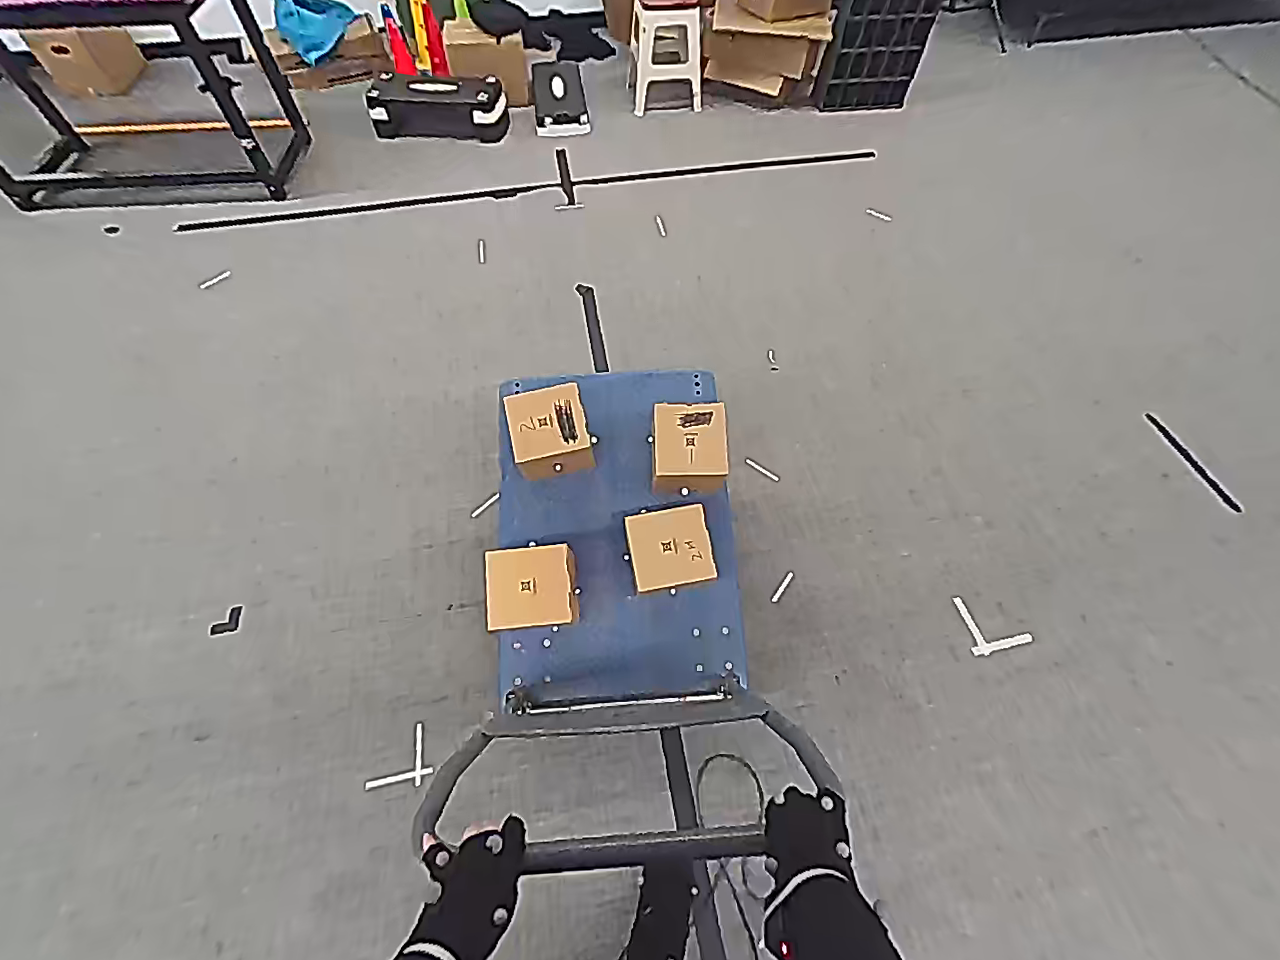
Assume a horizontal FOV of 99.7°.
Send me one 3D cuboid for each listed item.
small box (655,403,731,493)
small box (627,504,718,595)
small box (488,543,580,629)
[{"bbox_3d":[0.121,-0.073,1.305,0.168,0.176,0.179,0,76,-1],"label":"small box"},{"bbox_3d":[0.069,0.165,1.239,0.179,0.176,0.168,-9,75,-3],"label":"small box"},{"bbox_3d":[-0.233,0.242,1.215,0.179,0.176,0.168,-5,75,-4],"label":"small box"}]
